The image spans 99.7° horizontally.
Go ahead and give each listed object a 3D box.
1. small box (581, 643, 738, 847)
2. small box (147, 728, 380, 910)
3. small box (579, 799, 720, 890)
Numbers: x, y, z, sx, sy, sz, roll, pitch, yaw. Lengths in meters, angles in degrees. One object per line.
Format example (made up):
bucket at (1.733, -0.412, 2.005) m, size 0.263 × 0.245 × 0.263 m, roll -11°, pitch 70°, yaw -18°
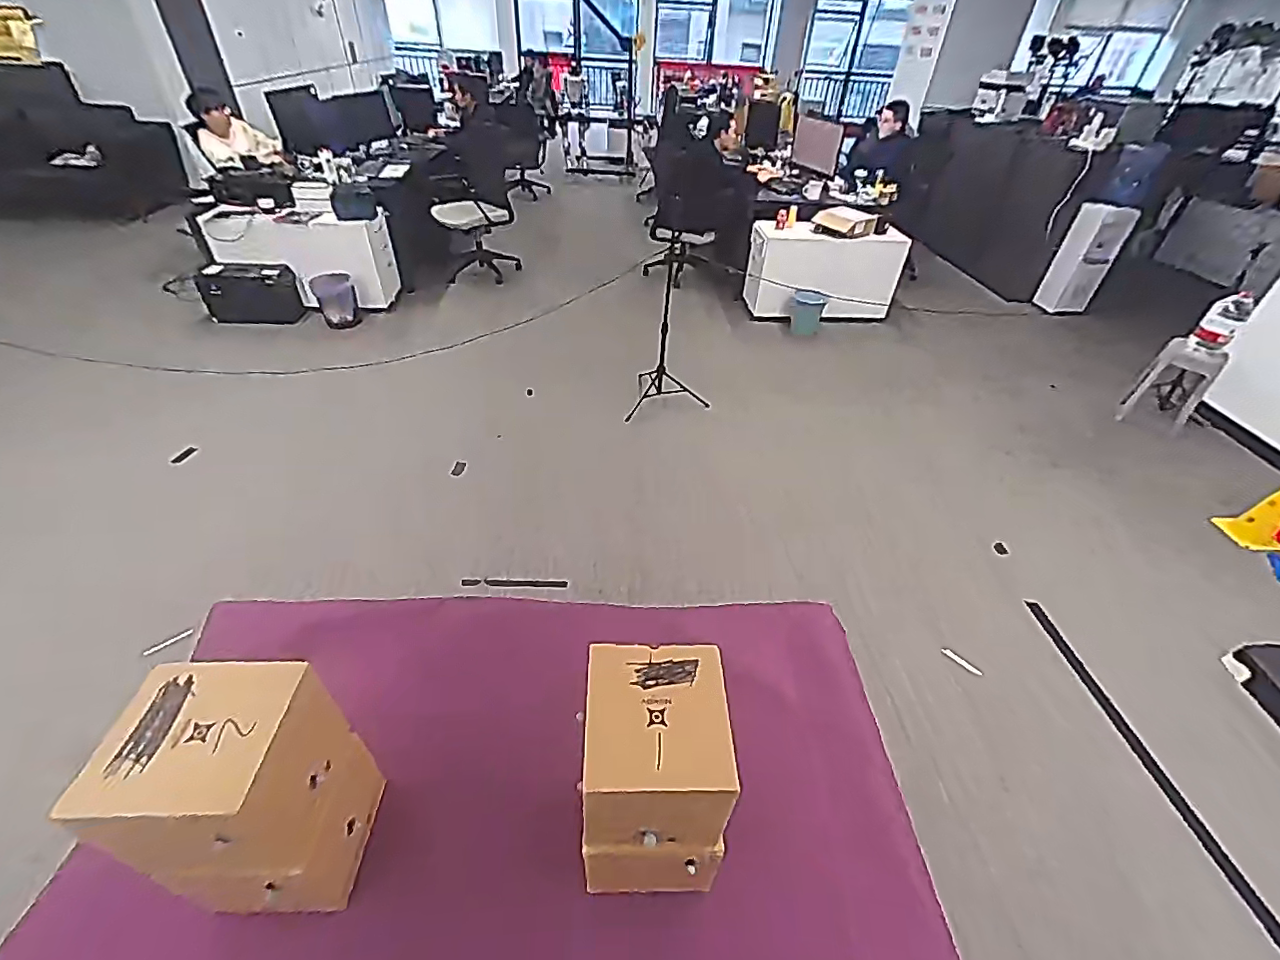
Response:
small box at (0.015, 0.325, 0.669) m, size 0.168 × 0.176 × 0.179 m, roll 1°, pitch 40°, yaw -3°
small box at (-0.479, 0.456, 0.728) m, size 0.179 × 0.176 × 0.168 m, roll 2°, pitch 40°, yaw -2°
small box at (0.008, 0.459, 0.765) m, size 0.179 × 0.176 × 0.168 m, roll 2°, pitch 40°, yaw -3°
